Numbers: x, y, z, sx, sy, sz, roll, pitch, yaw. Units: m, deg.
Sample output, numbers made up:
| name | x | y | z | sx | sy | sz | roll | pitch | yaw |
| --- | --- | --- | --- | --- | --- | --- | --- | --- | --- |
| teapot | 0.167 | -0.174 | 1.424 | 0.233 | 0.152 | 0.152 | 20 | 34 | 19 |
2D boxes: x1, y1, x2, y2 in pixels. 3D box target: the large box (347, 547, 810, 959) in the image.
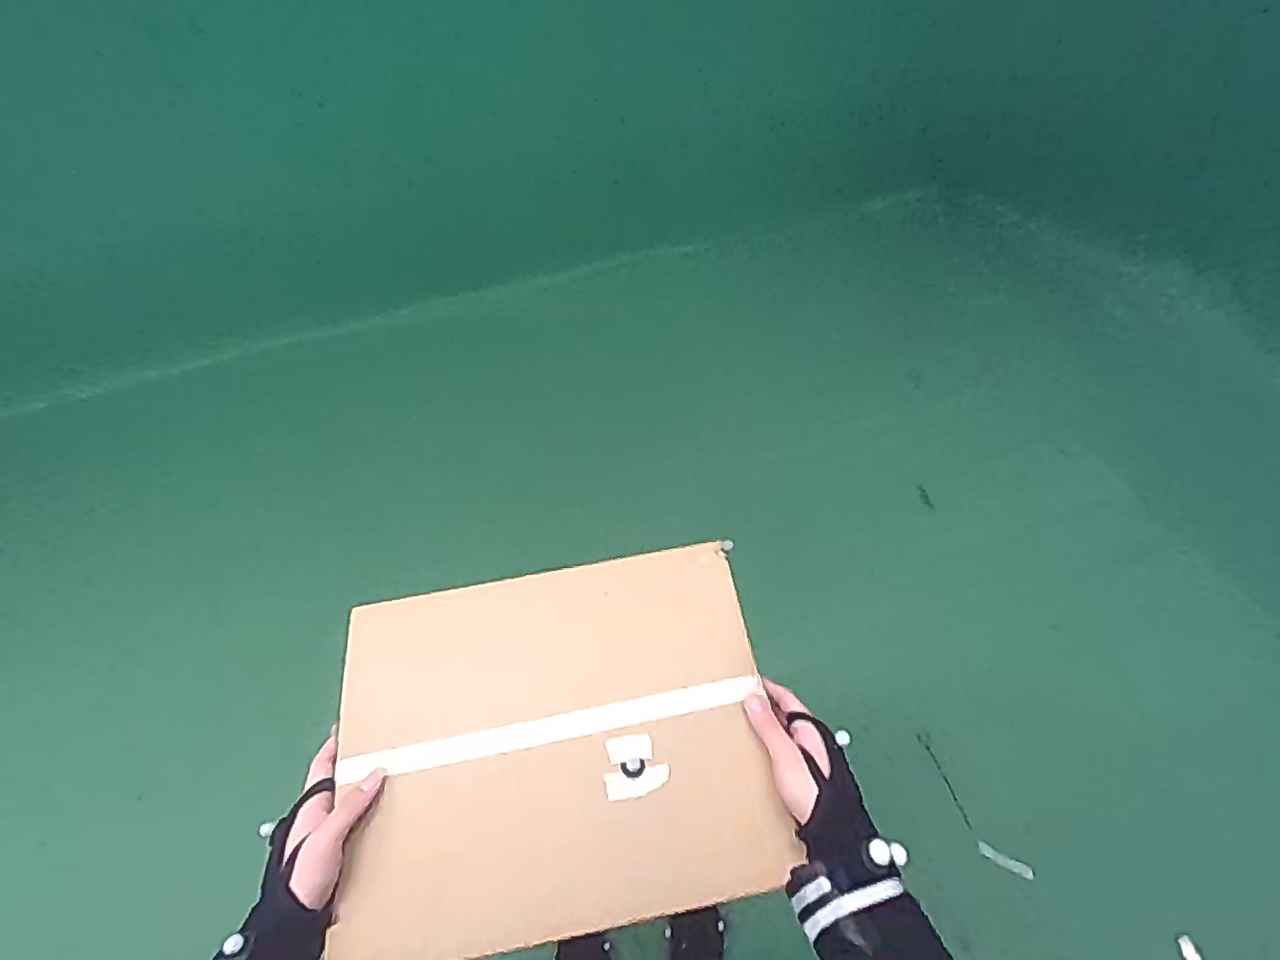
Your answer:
| name | x | y | z | sx | sy | sz | roll | pitch | yaw |
| --- | --- | --- | --- | --- | --- | --- | --- | --- | --- |
| large box | -0.071 | 0.314 | 0.655 | 0.408 | 0.320 | 0.320 | -9 | 61 | -5 |
